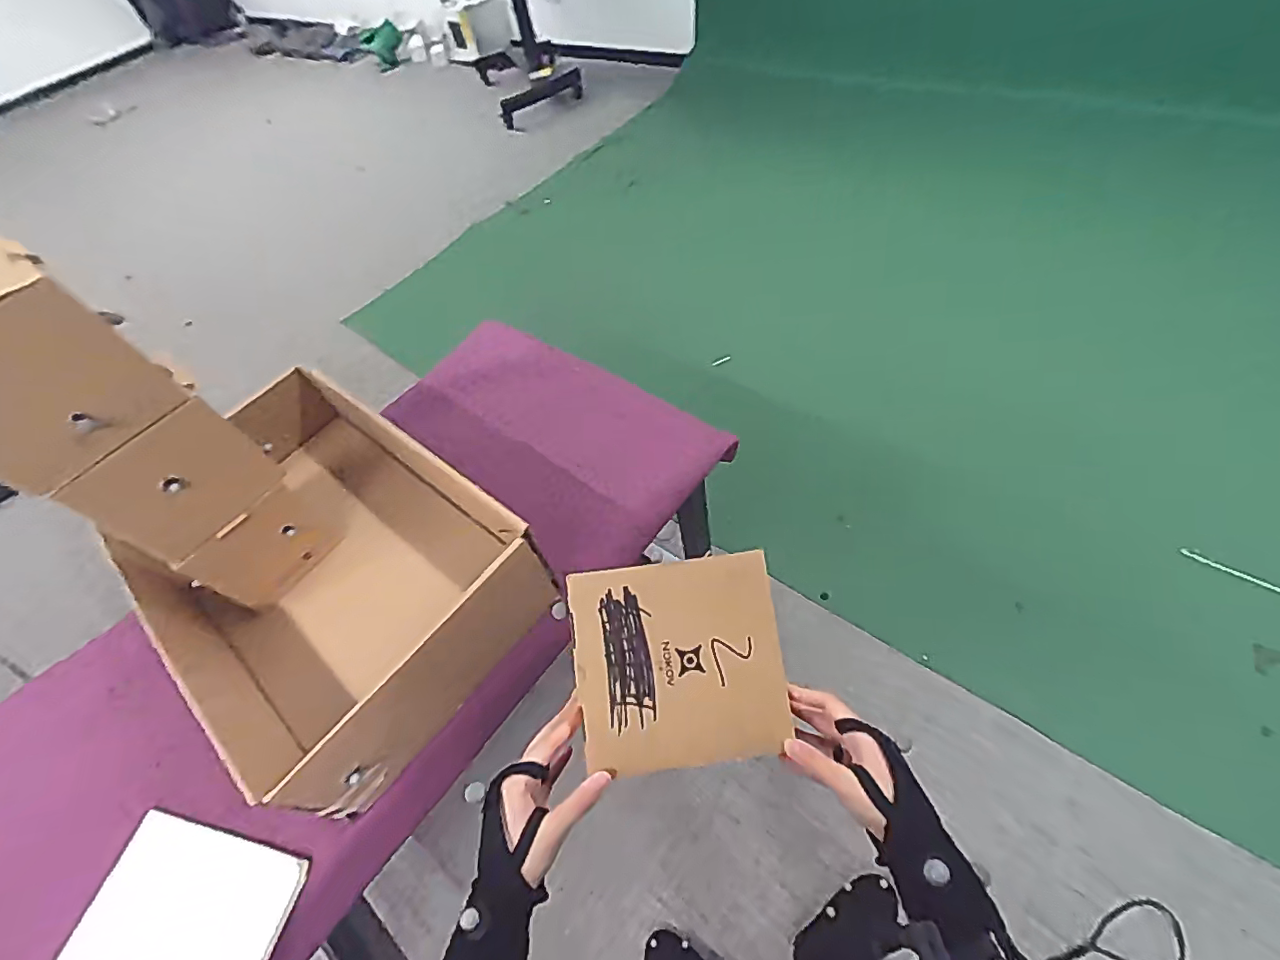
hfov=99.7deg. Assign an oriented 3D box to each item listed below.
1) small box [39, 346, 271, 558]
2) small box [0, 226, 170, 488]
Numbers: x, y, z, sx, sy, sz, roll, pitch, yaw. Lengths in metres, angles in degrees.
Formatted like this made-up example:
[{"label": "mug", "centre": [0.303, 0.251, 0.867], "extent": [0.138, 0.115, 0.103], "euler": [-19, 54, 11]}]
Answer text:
[{"label": "small box", "centre": [-0.625, -0.034, 0.698], "extent": [0.168, 0.176, 0.179], "euler": [28, 64, 25]}, {"label": "small box", "centre": [-0.650, -0.127, 0.565], "extent": [0.168, 0.176, 0.179], "euler": [30, 64, 26]}]
